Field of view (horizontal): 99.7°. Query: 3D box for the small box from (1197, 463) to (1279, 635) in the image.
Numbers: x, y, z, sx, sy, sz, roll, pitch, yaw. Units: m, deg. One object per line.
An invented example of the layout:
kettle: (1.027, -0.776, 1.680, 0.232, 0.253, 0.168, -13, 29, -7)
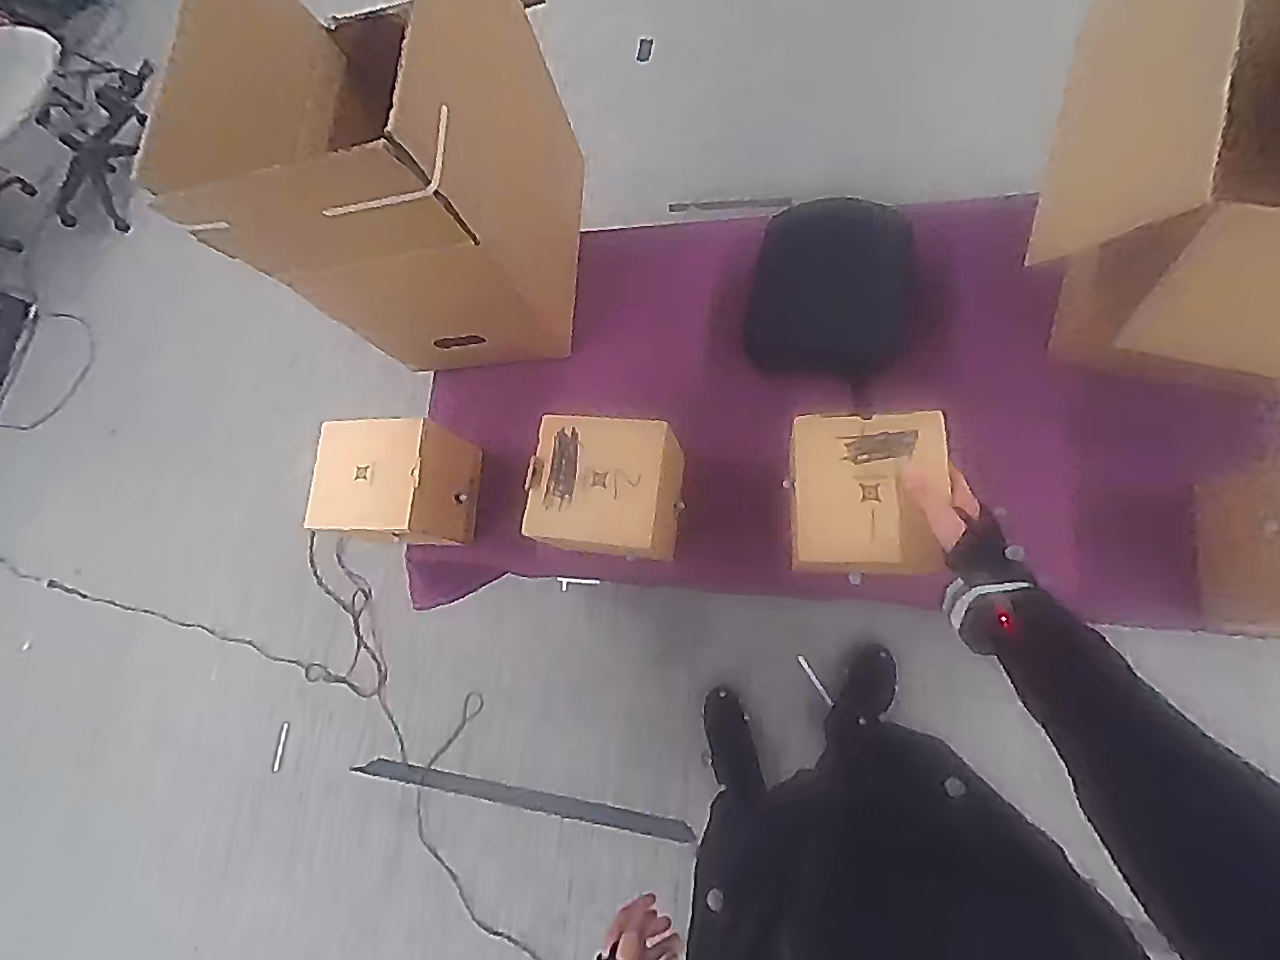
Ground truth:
small box: (0.733, 0.073, 0.557, 0.168, 0.176, 0.179, 5, 77, 16)

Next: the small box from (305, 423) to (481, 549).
small box: (-0.377, 0.017, 0.851, 0.179, 0.176, 0.168, -1, 76, 12)

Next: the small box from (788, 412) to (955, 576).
small box: (0.277, 0.027, 0.686, 0.168, 0.176, 0.179, -2, 77, 14)
